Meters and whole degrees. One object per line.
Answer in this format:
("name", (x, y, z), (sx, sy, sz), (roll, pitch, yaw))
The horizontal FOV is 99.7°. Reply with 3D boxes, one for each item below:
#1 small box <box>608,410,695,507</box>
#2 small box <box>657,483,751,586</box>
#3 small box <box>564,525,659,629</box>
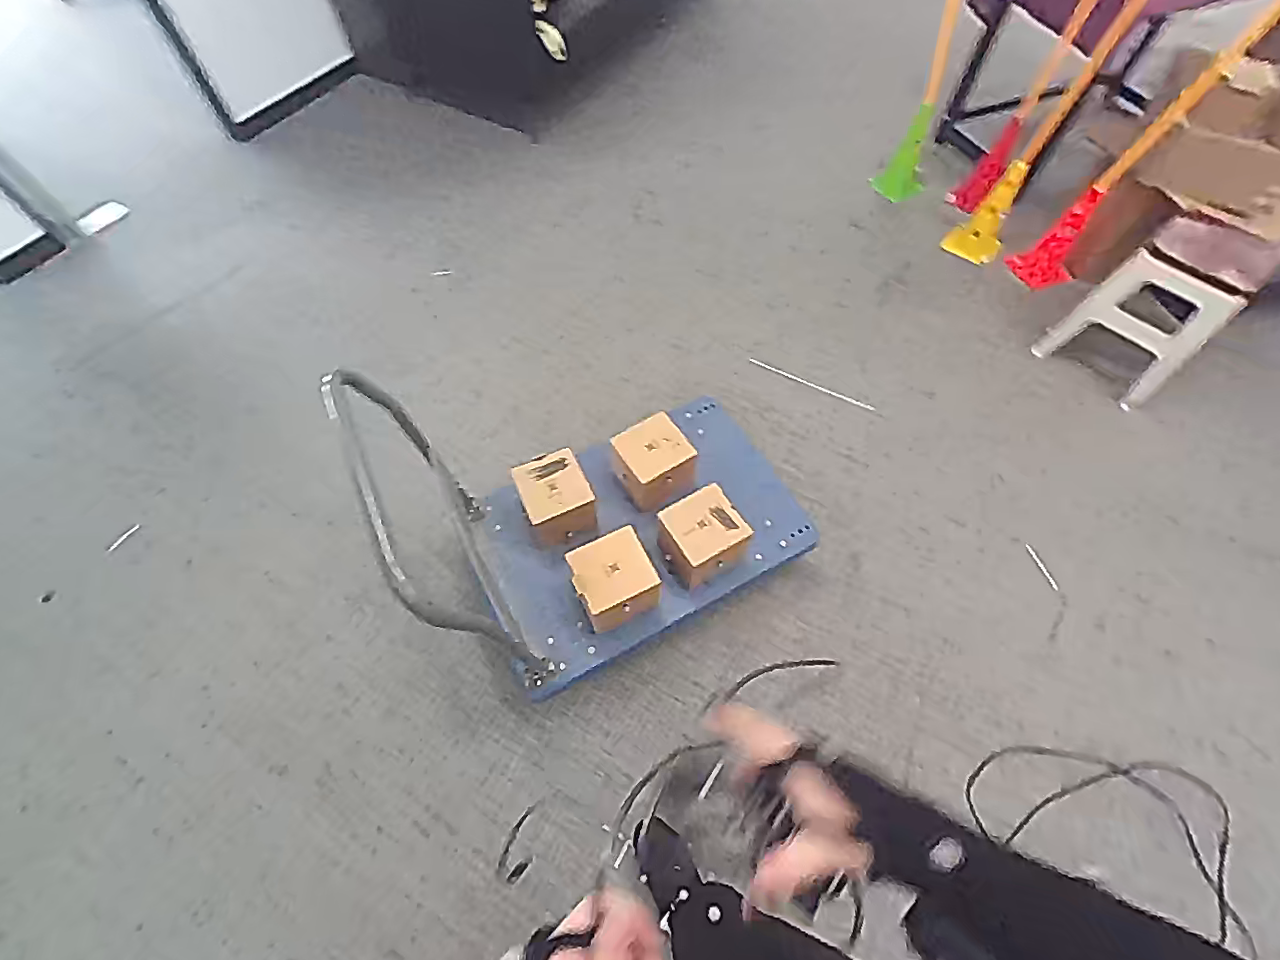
("small box", (0.032, -0.052, 1.484), (0.179, 0.176, 0.168), (-29, 65, -15))
("small box", (0.155, 0.142, 1.373), (0.179, 0.176, 0.168), (-27, 63, -13))
("small box", (-0.068, 0.241, 1.323), (0.179, 0.176, 0.168), (-24, 63, -11))
